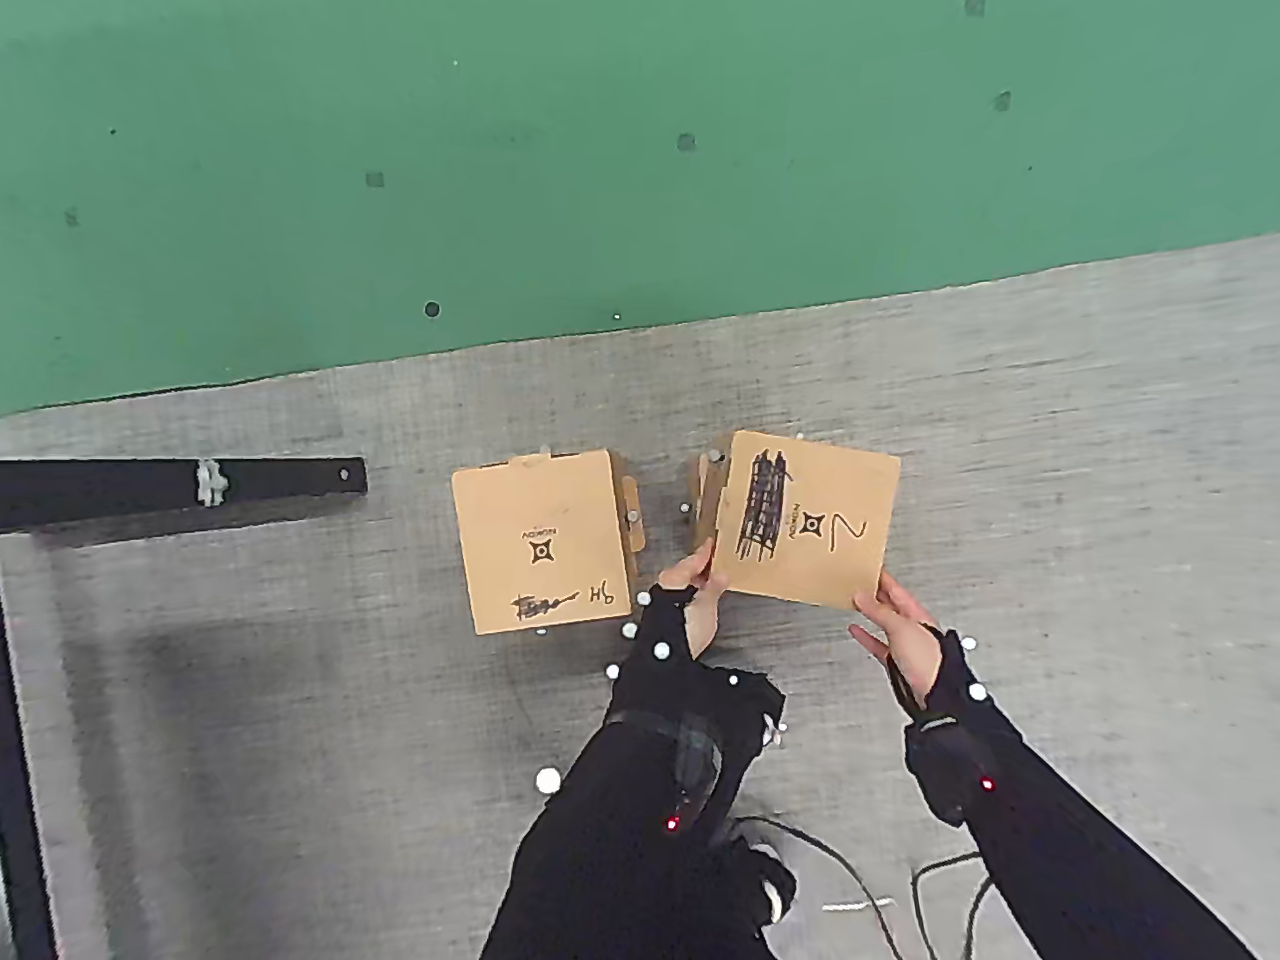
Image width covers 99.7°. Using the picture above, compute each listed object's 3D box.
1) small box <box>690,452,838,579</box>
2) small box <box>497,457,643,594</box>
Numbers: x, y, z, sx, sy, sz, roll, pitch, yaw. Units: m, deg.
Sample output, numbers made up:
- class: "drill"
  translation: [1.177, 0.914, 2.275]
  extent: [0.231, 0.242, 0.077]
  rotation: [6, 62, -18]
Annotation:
- class: "small box"
  translation: [0.171, 0.044, 0.793]
  extent: [0.179, 0.176, 0.168]
  rotation: [1, 92, 0]
- class: "small box"
  translation: [-0.093, 0.057, 0.799]
  extent: [0.179, 0.176, 0.168]
  rotation: [-9, 92, 2]
